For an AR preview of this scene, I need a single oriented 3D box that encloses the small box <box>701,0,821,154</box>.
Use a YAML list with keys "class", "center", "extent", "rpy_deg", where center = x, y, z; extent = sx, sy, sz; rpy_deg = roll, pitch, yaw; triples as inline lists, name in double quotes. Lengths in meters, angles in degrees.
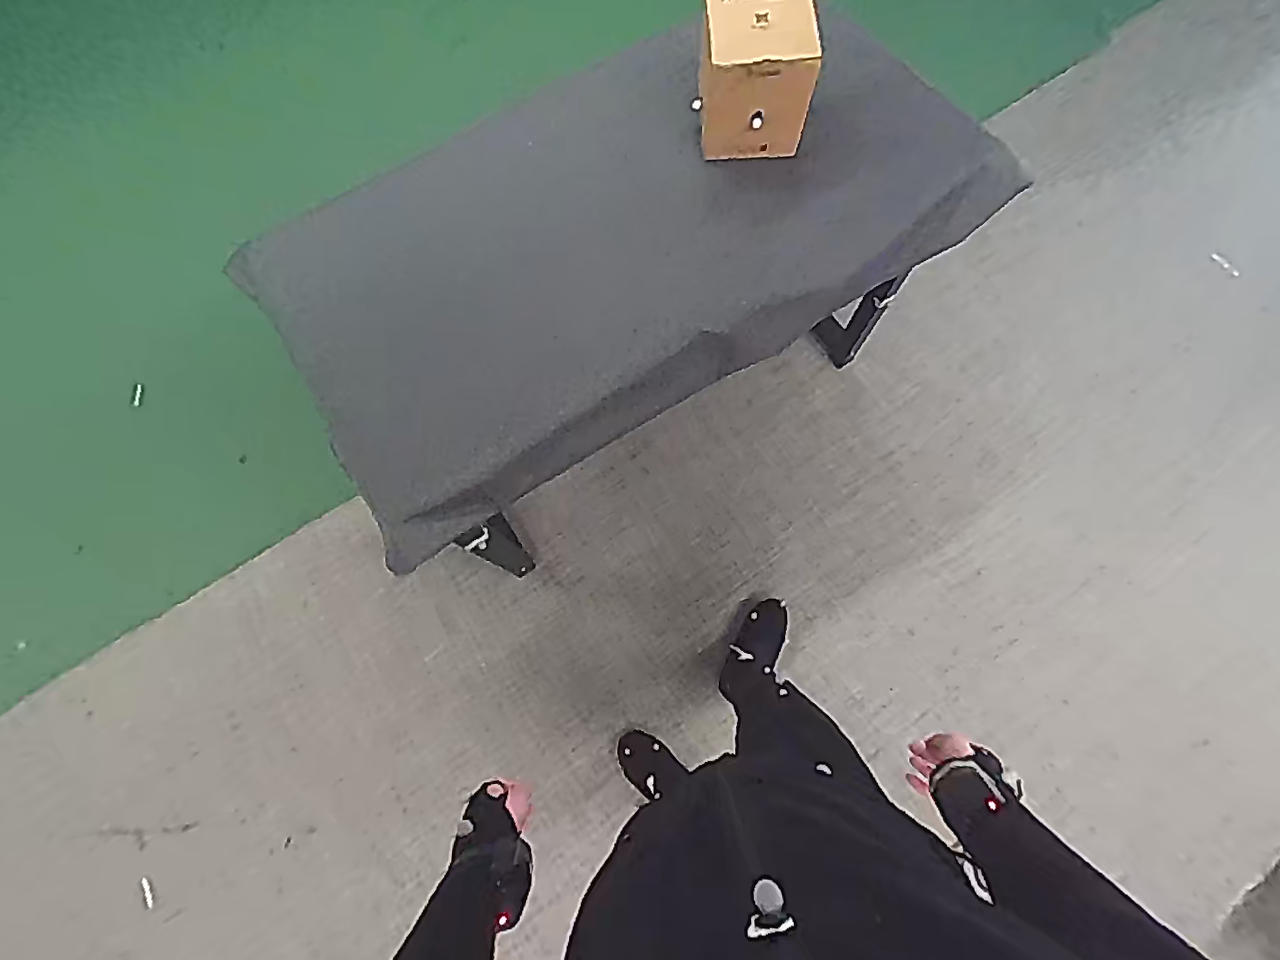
- class: "small box"
  center: [0.193, -0.681, 0.912]
  extent: [0.168, 0.176, 0.179]
  rpy_deg: [-2, 74, 1]
